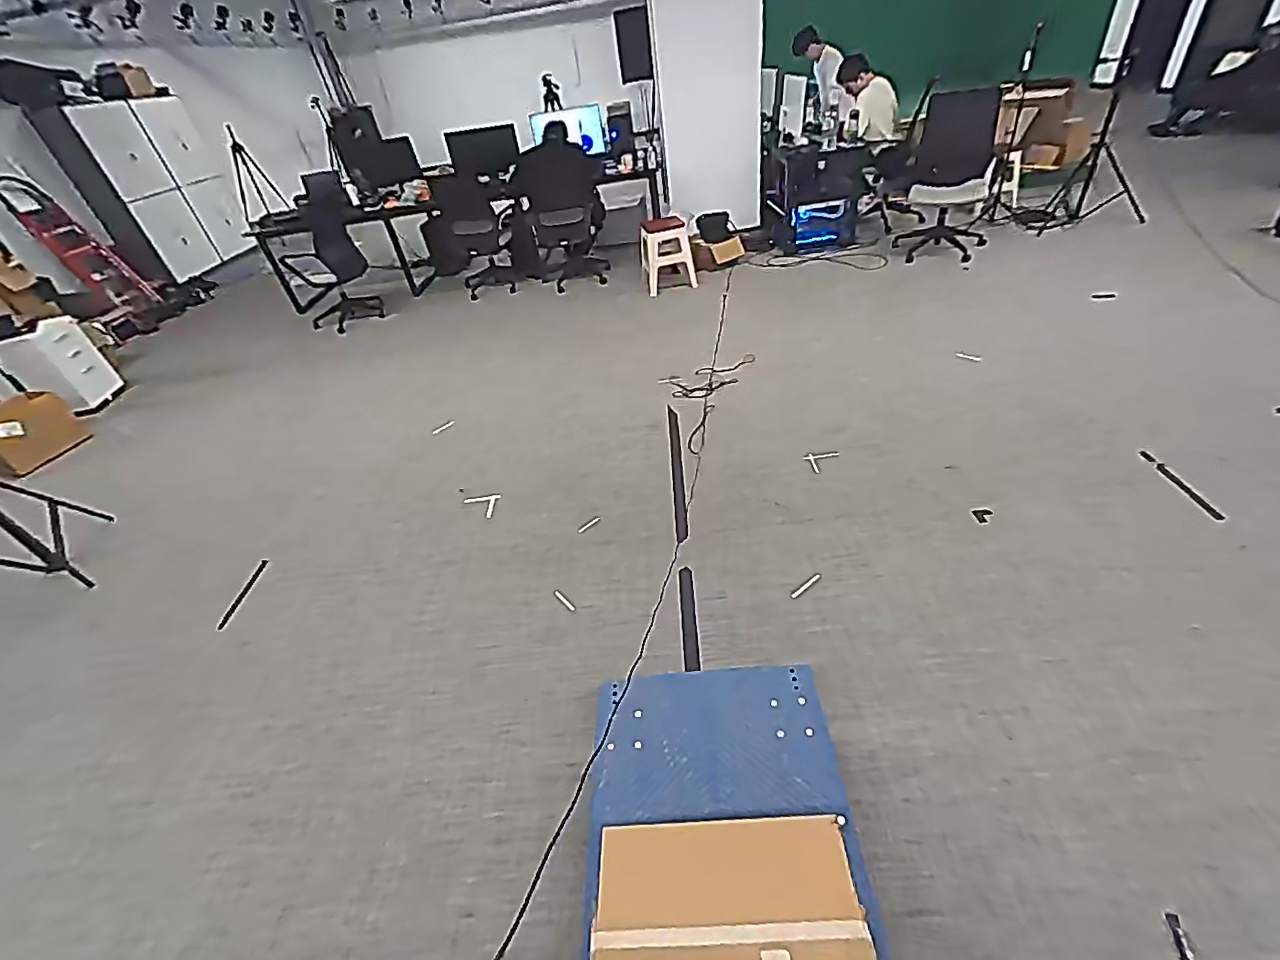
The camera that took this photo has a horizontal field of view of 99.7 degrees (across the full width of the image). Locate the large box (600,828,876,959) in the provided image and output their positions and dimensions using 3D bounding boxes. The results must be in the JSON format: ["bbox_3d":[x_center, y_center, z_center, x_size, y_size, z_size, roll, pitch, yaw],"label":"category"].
[{"bbox_3d":[0.154,0.808,0.872,0.408,0.320,0.320,-6,37,4],"label":"large box"}]
